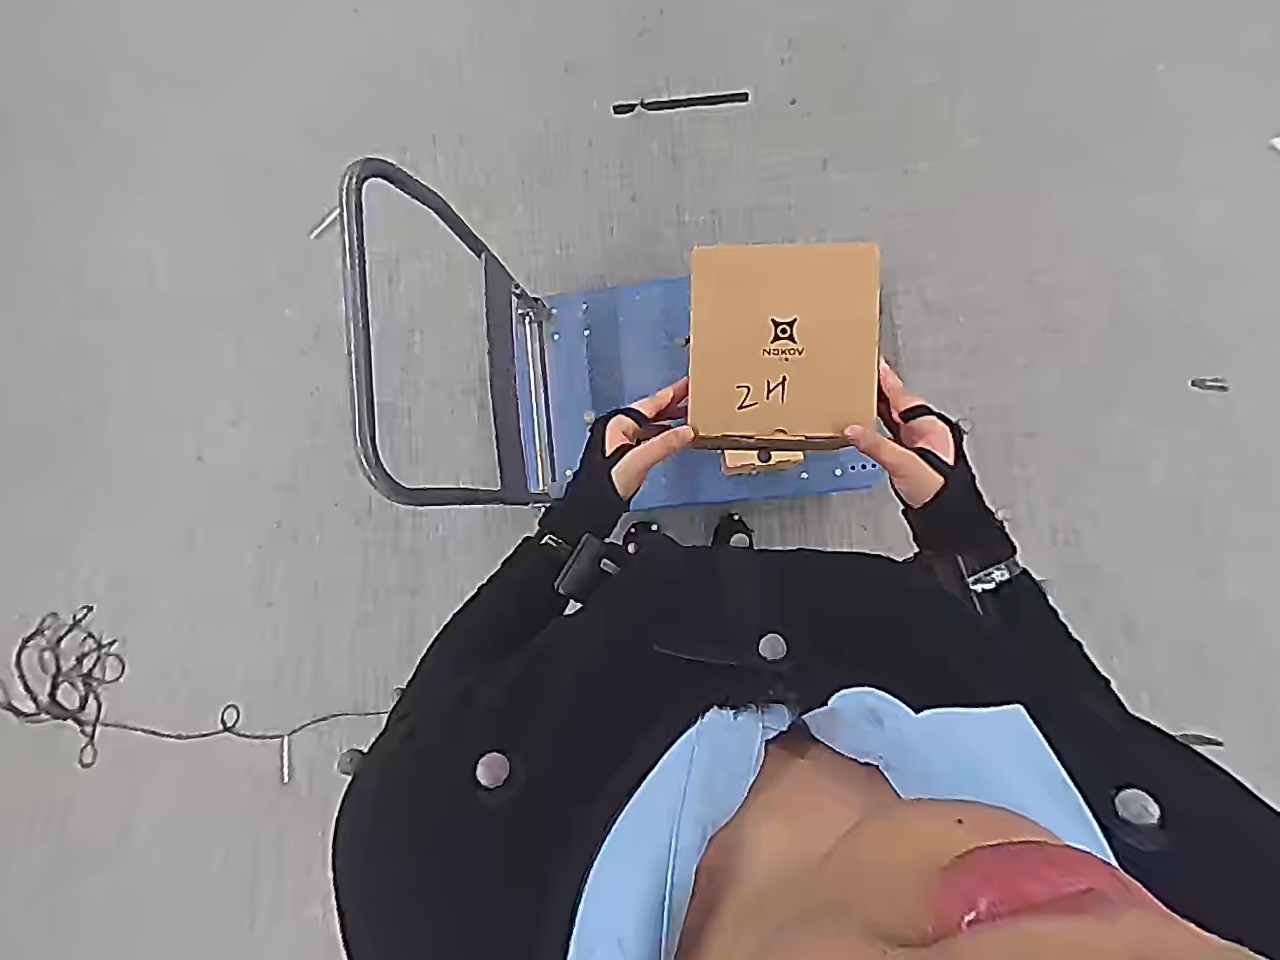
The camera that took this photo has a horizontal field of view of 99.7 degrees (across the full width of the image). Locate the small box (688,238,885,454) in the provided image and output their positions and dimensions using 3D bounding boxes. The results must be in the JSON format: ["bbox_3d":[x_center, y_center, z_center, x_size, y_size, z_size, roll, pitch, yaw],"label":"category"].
[{"bbox_3d":[0.136,-0.124,0.554,0.168,0.176,0.179,3,89,7],"label":"small box"}]

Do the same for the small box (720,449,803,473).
[{"bbox_3d":[0.267,-0.117,1.242,0.168,0.176,0.179,-6,86,5],"label":"small box"}]
